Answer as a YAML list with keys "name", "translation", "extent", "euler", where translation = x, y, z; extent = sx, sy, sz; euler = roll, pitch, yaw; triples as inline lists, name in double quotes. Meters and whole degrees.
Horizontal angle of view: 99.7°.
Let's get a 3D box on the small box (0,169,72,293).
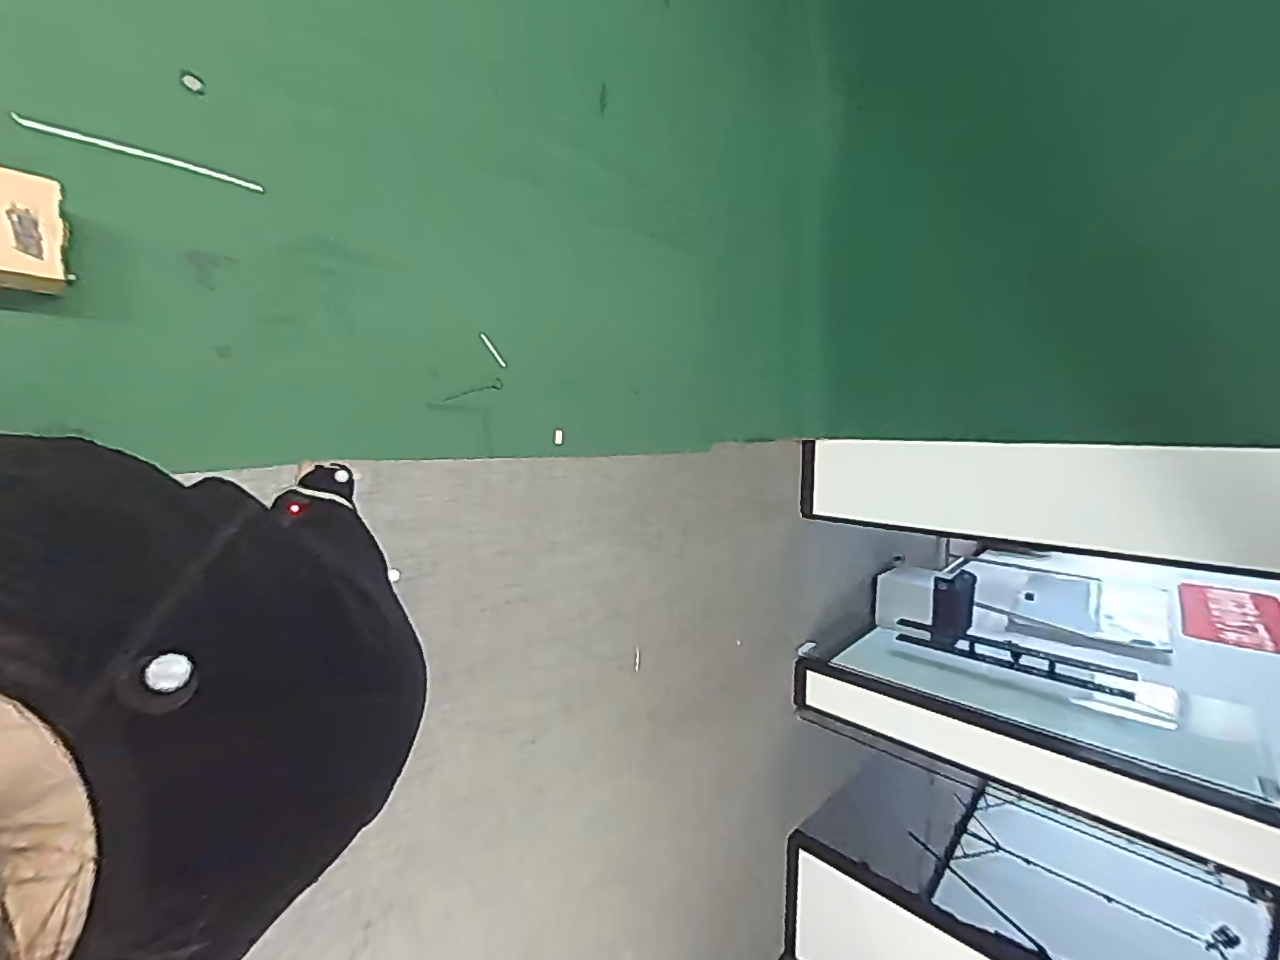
- name: "small box"
  translation: [-1.099, -0.427, 0.923]
  extent: [0.179, 0.176, 0.168]
  euler: [-2, 96, -45]
